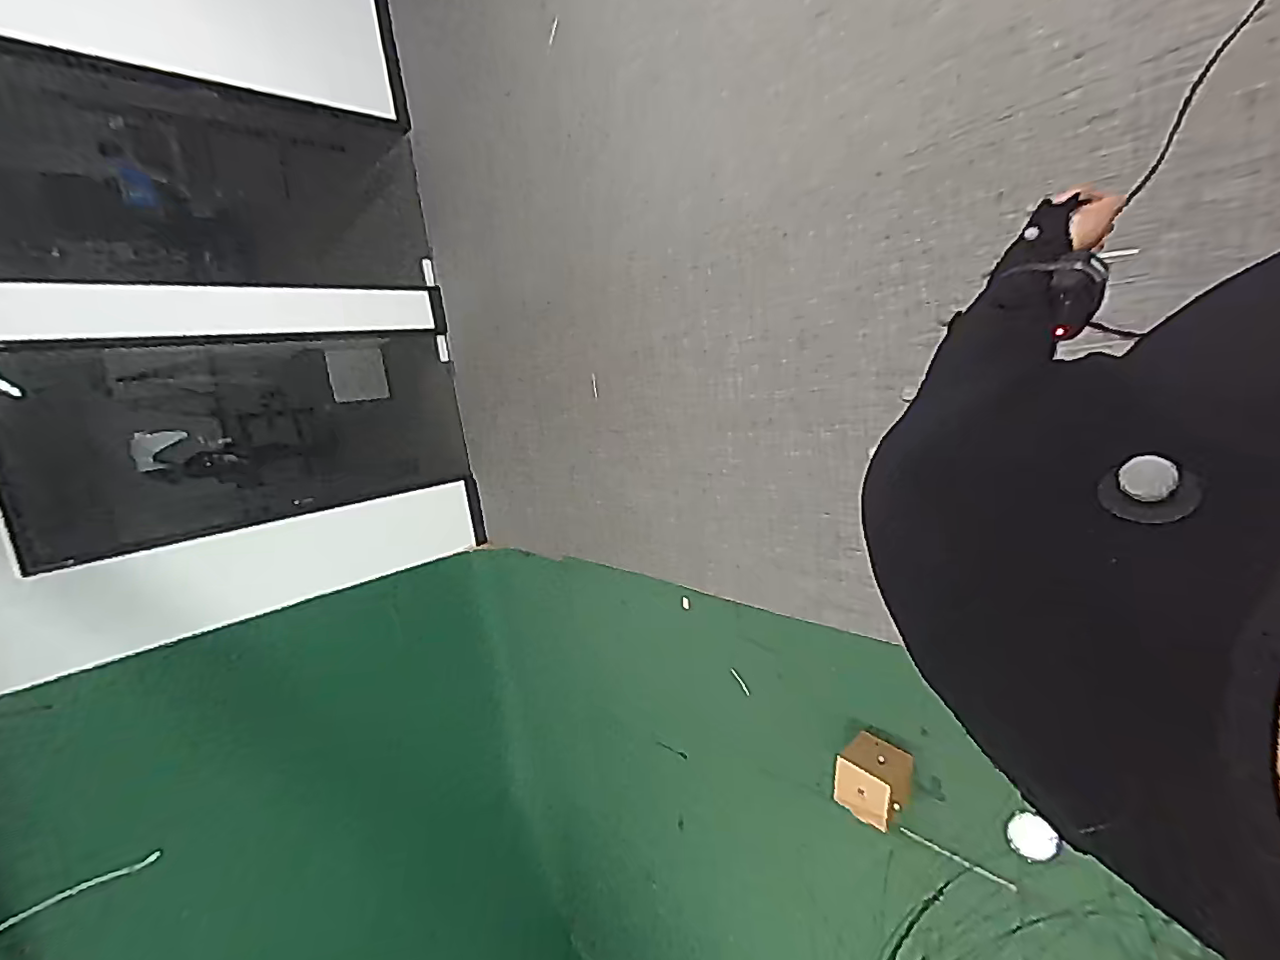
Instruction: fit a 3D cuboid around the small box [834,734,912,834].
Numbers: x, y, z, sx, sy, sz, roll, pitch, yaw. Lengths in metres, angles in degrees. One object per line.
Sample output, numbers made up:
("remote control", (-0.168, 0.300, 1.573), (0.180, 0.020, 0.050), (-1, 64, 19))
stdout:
("small box", (0.723, 0.930, 1.677), (0.168, 0.176, 0.179), (15, 112, 46))
